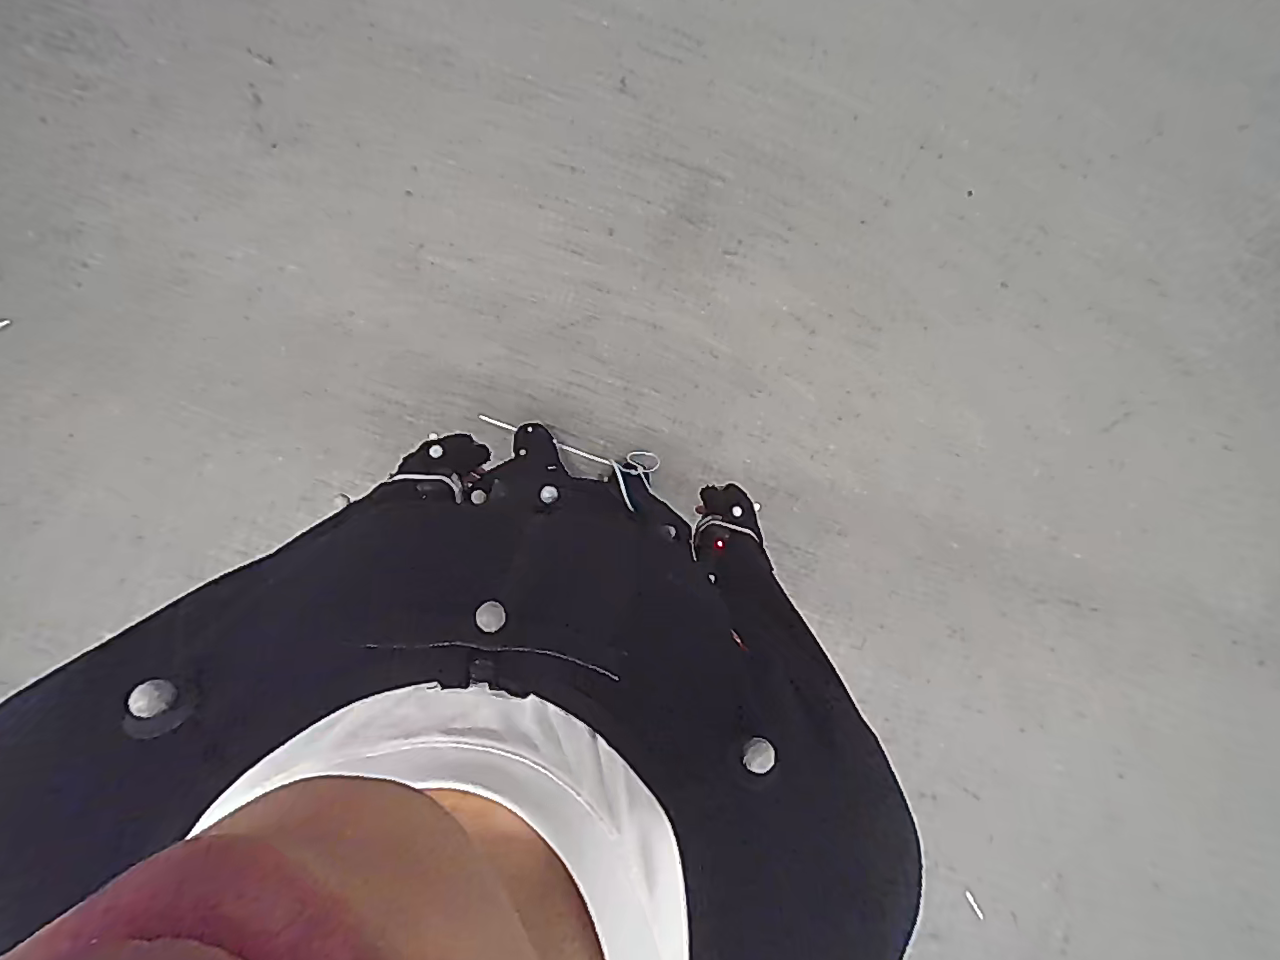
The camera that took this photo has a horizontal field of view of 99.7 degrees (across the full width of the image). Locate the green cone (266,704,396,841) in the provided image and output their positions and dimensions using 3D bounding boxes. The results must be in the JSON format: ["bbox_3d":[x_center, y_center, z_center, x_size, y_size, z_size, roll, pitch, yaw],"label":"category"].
[{"bbox_3d":[-0.801,0.754,1.348,0.202,0.368,0.200,18,93,-2],"label":"green cone"}]
